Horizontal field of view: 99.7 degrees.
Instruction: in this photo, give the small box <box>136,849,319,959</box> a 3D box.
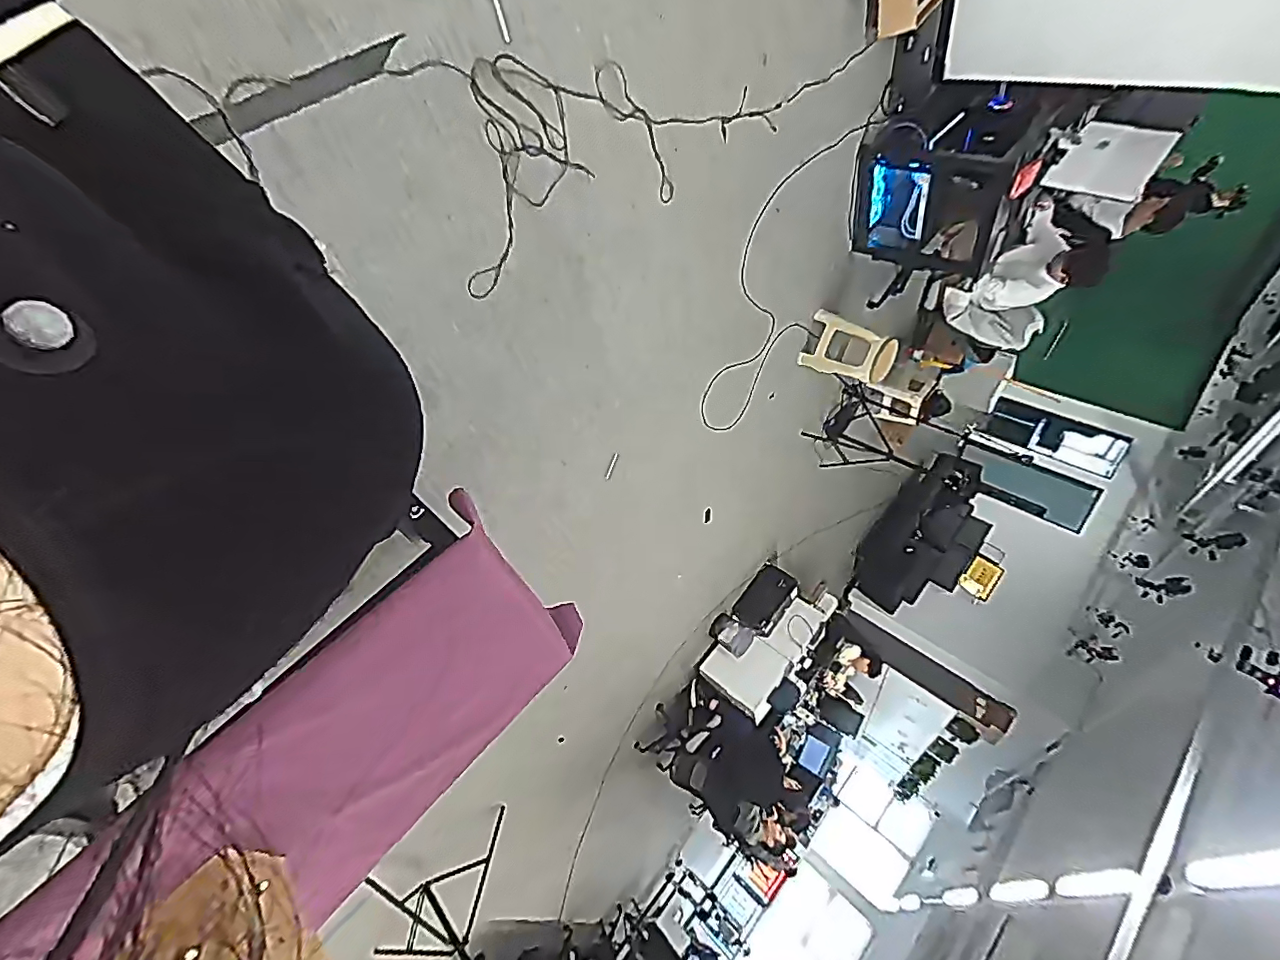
[{"bbox_3d":[-0.710,0.785,0.935,0.179,0.176,0.168,-42,142,-22],"label":"small box"}]
